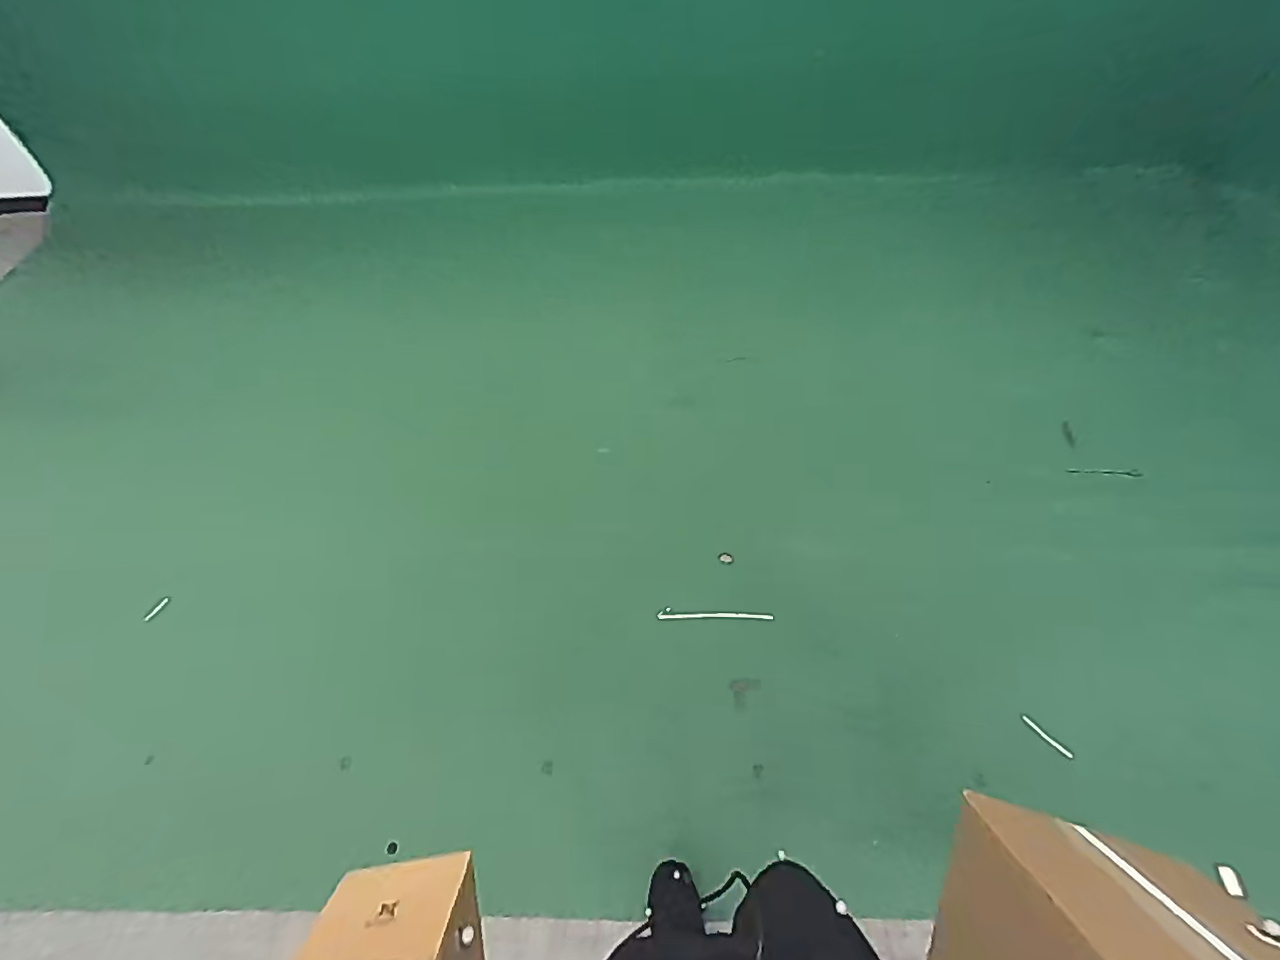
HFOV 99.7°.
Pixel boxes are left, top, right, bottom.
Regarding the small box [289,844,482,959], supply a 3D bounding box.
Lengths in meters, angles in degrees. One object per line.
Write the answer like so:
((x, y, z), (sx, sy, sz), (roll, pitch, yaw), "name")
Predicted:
((-0.292, 0.587, 0.648), (0.168, 0.179, 0.176), (-6, 91, -5), "small box")
